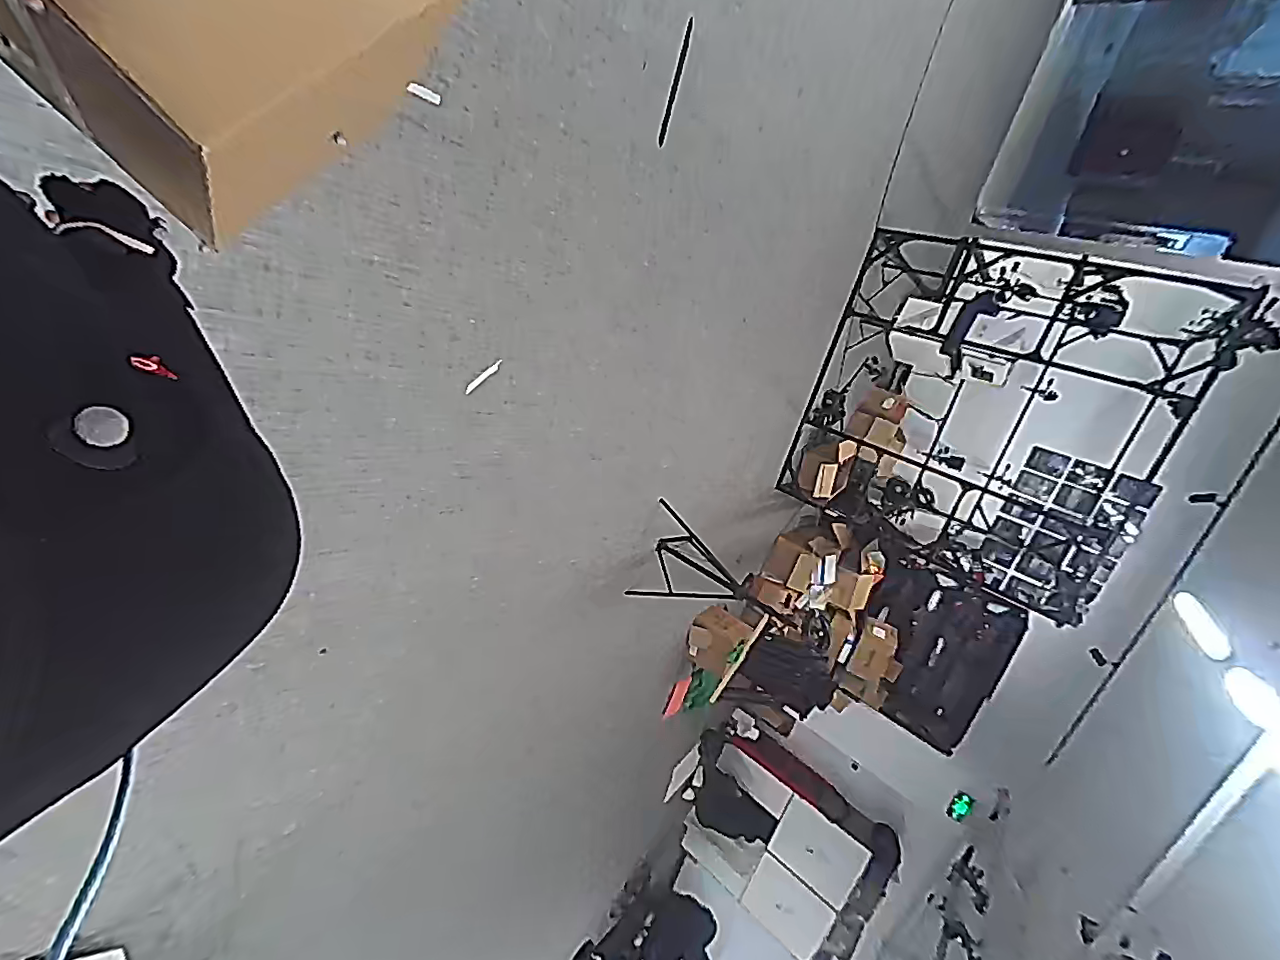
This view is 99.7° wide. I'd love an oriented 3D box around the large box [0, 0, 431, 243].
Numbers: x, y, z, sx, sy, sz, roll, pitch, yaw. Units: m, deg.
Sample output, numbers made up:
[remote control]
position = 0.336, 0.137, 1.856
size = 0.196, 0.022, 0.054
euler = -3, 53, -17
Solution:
[large box]
position = -0.456, -0.498, 0.532
size = 0.320, 0.408, 0.320
euler = -50, 123, -17
